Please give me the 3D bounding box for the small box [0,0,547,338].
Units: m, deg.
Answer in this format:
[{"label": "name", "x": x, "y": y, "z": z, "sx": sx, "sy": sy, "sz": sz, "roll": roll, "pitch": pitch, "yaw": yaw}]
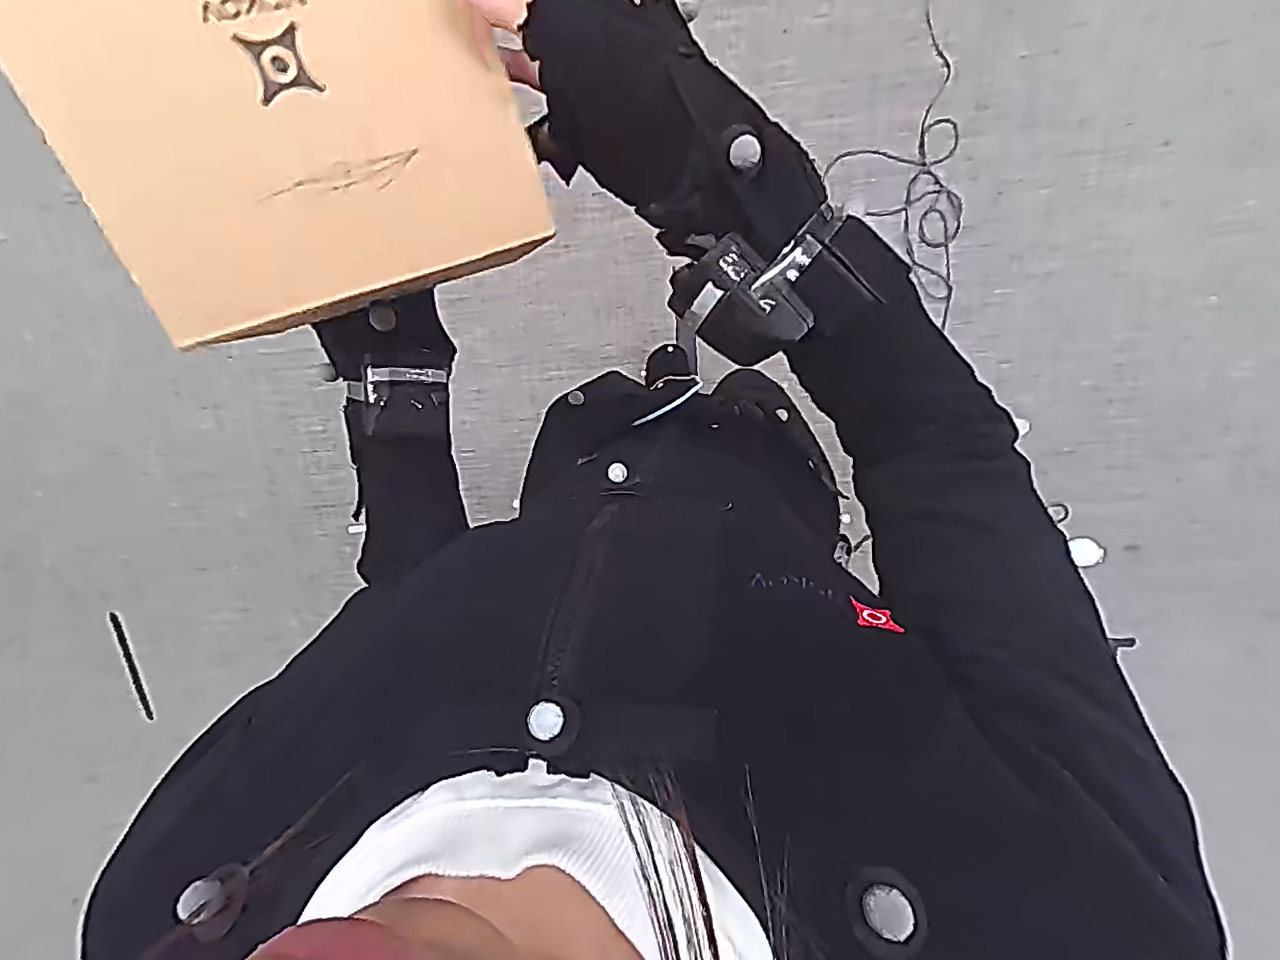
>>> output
[{"label": "small box", "x": -0.165, "y": -0.188, "z": 0.291, "sx": 0.168, "sy": 0.176, "sz": 0.179, "roll": -21, "pitch": 113, "yaw": -9}]
